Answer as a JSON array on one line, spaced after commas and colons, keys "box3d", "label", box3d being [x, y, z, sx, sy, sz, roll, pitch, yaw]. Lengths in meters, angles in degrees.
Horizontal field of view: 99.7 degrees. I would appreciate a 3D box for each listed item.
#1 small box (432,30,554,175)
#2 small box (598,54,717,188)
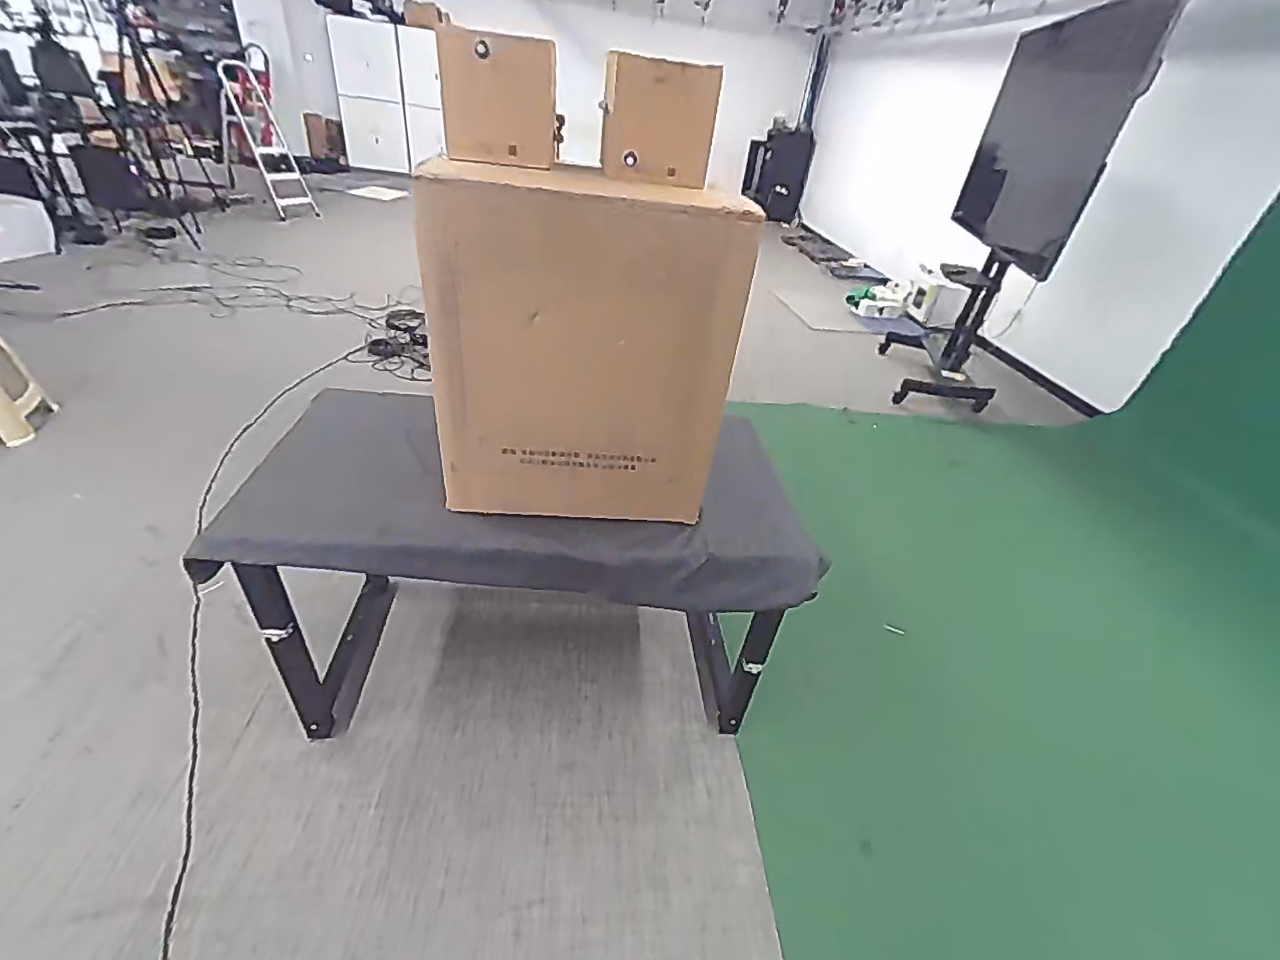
[{"box3d": [-0.229, -0.613, 0.887, 0.168, 0.176, 0.179, 1, 36, -7], "label": "small box"}, {"box3d": [0.019, -0.607, 0.918, 0.168, 0.176, 0.179, 0, 37, -10], "label": "small box"}]
